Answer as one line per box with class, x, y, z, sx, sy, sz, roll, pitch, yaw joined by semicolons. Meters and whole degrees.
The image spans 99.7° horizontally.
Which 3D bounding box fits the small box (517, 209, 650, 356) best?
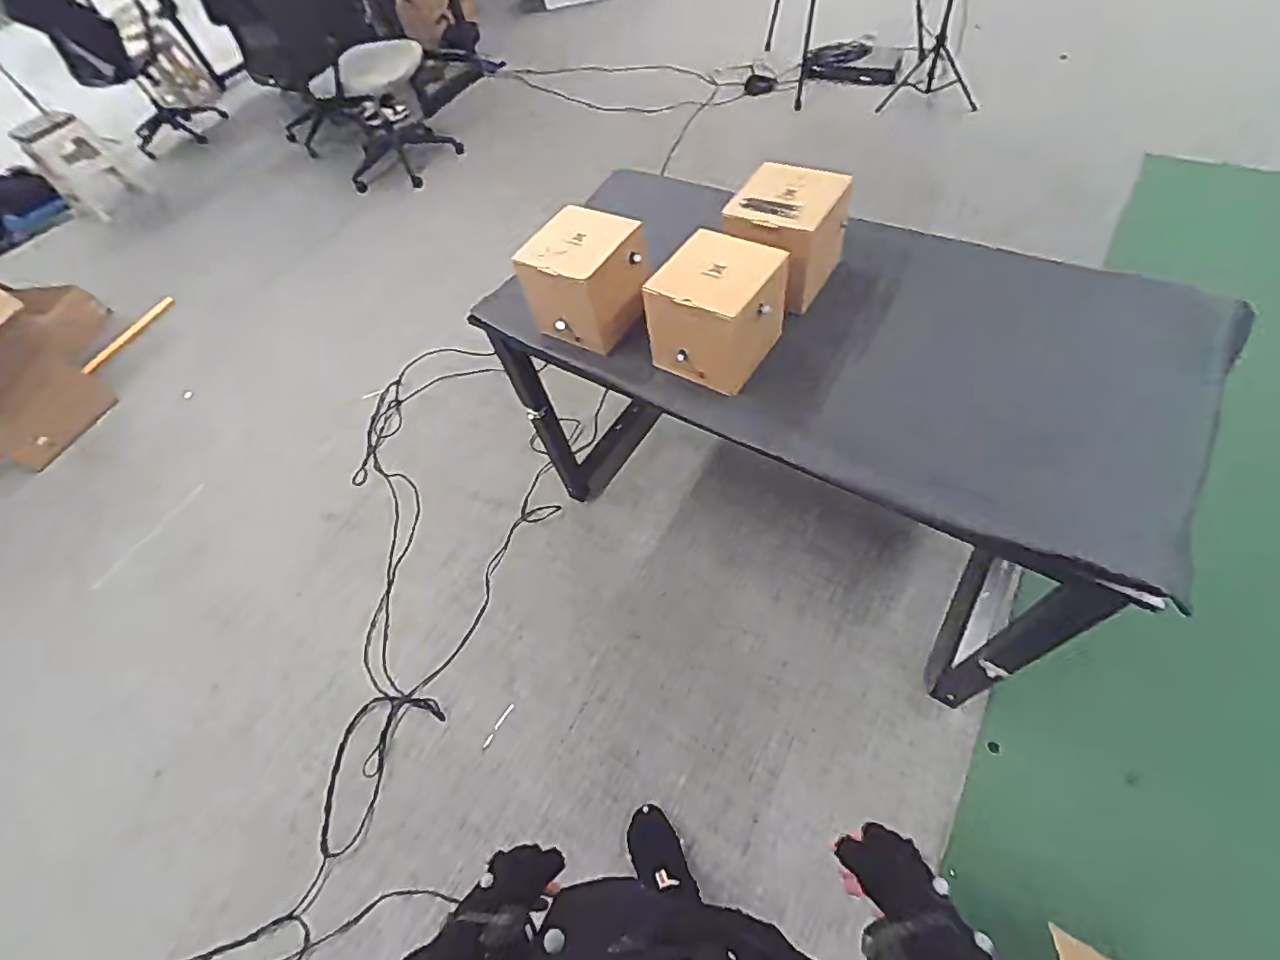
small box;-0.094;-0.367;1.011;0.168;0.176;0.179;25;65;24
